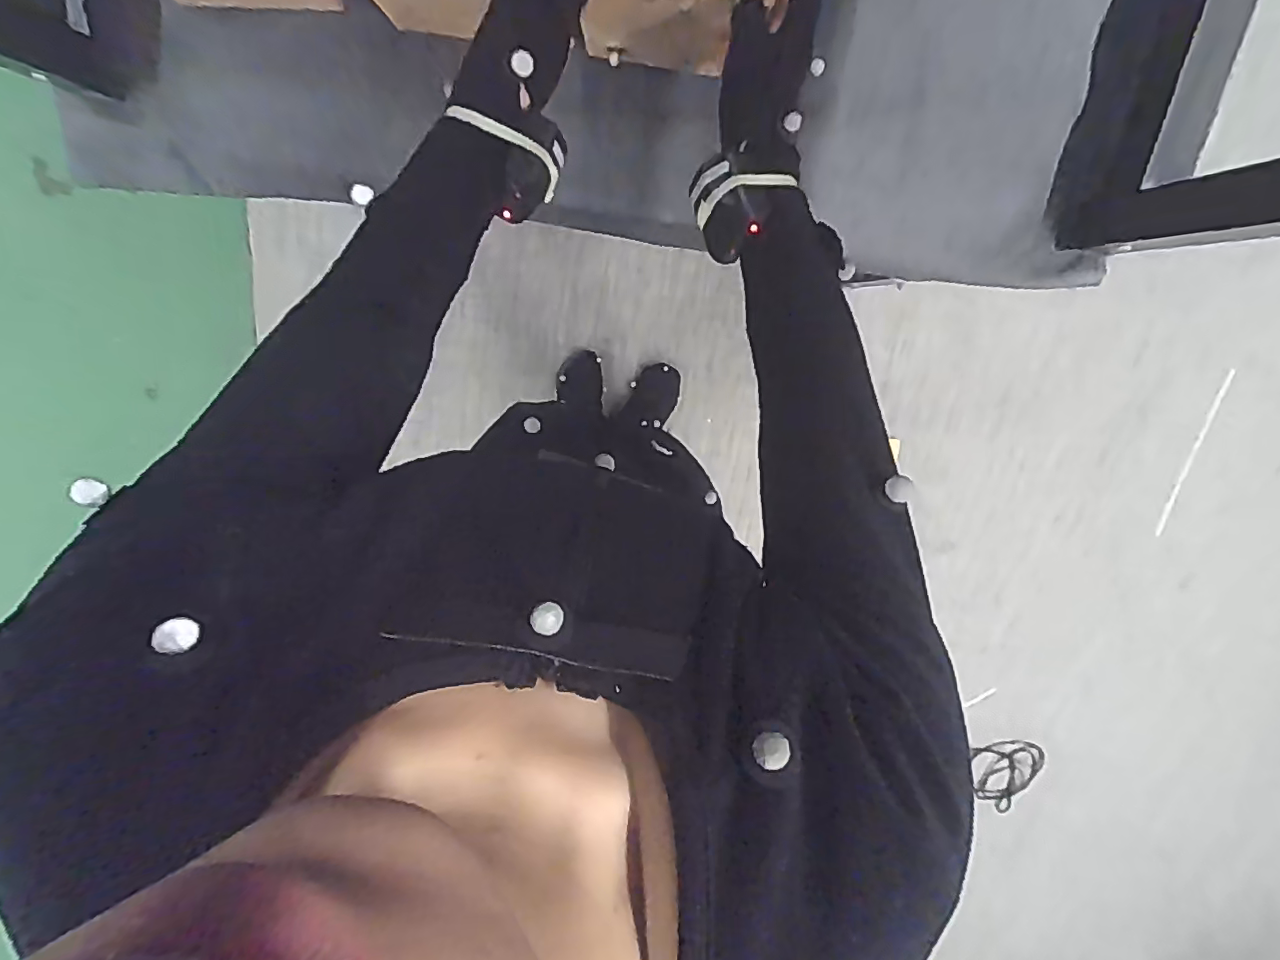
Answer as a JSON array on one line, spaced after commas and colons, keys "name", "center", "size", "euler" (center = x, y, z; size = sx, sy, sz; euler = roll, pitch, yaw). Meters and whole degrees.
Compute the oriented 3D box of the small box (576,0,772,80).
[{"name": "small box", "center": [0.037, -0.486, 0.472], "size": [0.168, 0.176, 0.179], "euler": [8, 109, -3]}]
